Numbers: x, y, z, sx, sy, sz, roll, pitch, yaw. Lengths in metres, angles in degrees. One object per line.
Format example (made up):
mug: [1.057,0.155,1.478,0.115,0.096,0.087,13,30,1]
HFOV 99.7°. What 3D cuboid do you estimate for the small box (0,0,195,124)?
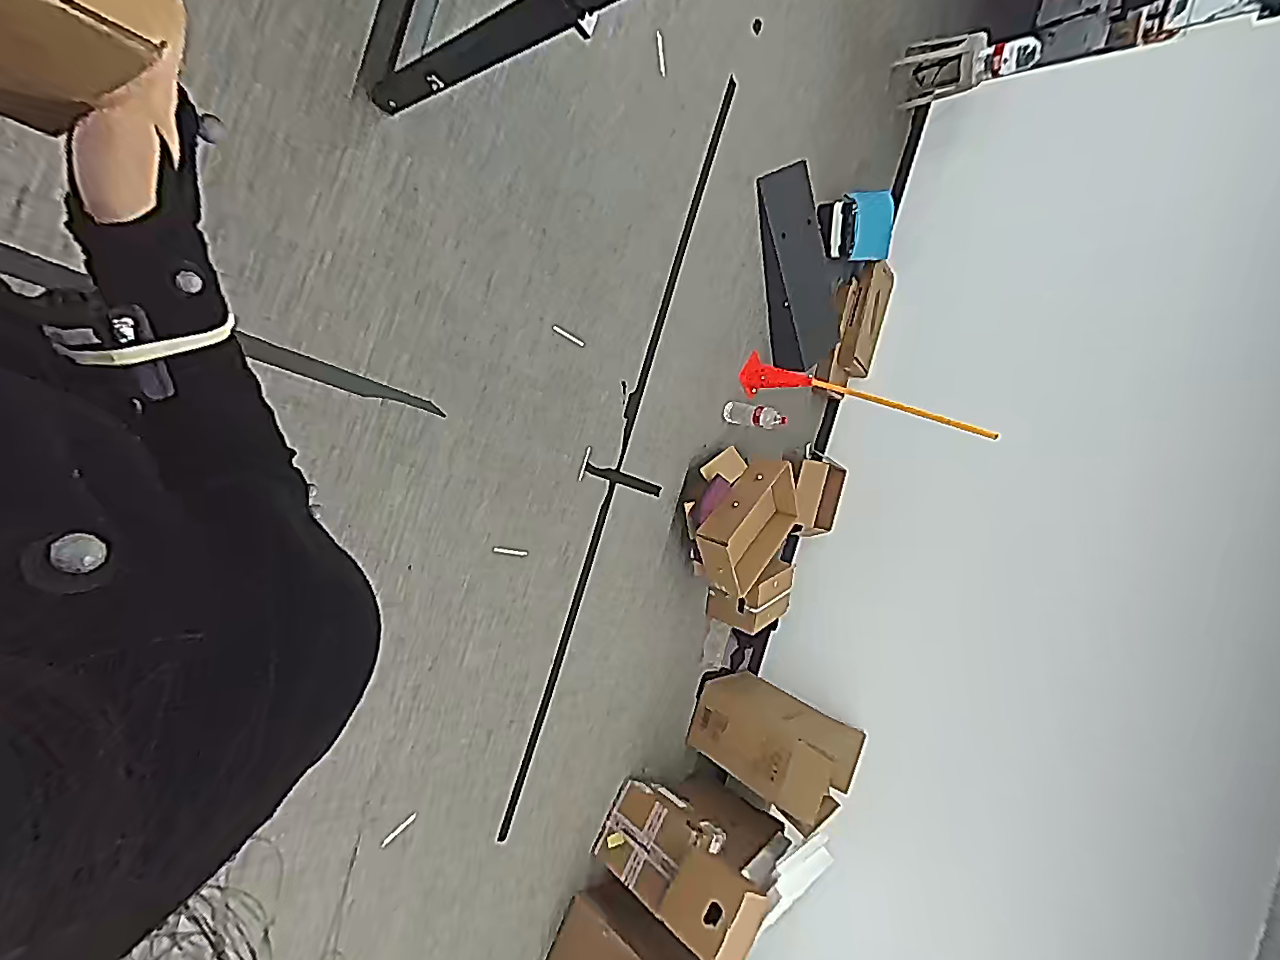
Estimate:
small box: [-0.271,-0.258,0.180,0.168,0.176,0.179,4,97,-58]
